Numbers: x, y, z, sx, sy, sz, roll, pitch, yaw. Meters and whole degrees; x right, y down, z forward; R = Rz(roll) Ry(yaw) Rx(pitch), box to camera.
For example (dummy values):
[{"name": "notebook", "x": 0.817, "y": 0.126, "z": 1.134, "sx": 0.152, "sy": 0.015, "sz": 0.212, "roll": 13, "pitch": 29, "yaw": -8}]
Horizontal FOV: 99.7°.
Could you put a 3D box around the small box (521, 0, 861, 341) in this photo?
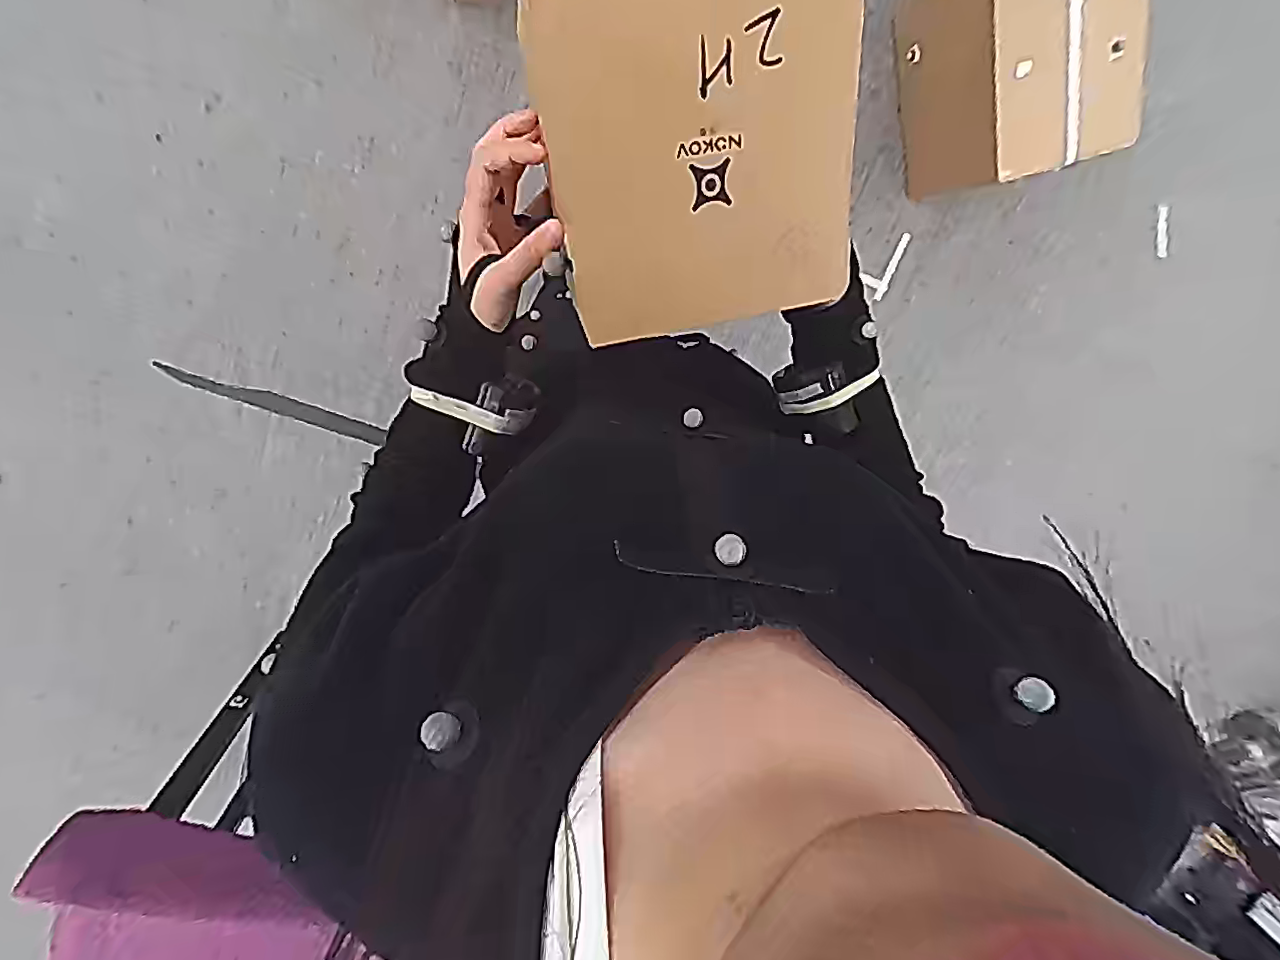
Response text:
[{"name": "small box", "x": 0.021, "y": -0.216, "z": 0.361, "sx": 0.168, "sy": 0.176, "sz": 0.179, "roll": -13, "pitch": 124, "yaw": -6}]
